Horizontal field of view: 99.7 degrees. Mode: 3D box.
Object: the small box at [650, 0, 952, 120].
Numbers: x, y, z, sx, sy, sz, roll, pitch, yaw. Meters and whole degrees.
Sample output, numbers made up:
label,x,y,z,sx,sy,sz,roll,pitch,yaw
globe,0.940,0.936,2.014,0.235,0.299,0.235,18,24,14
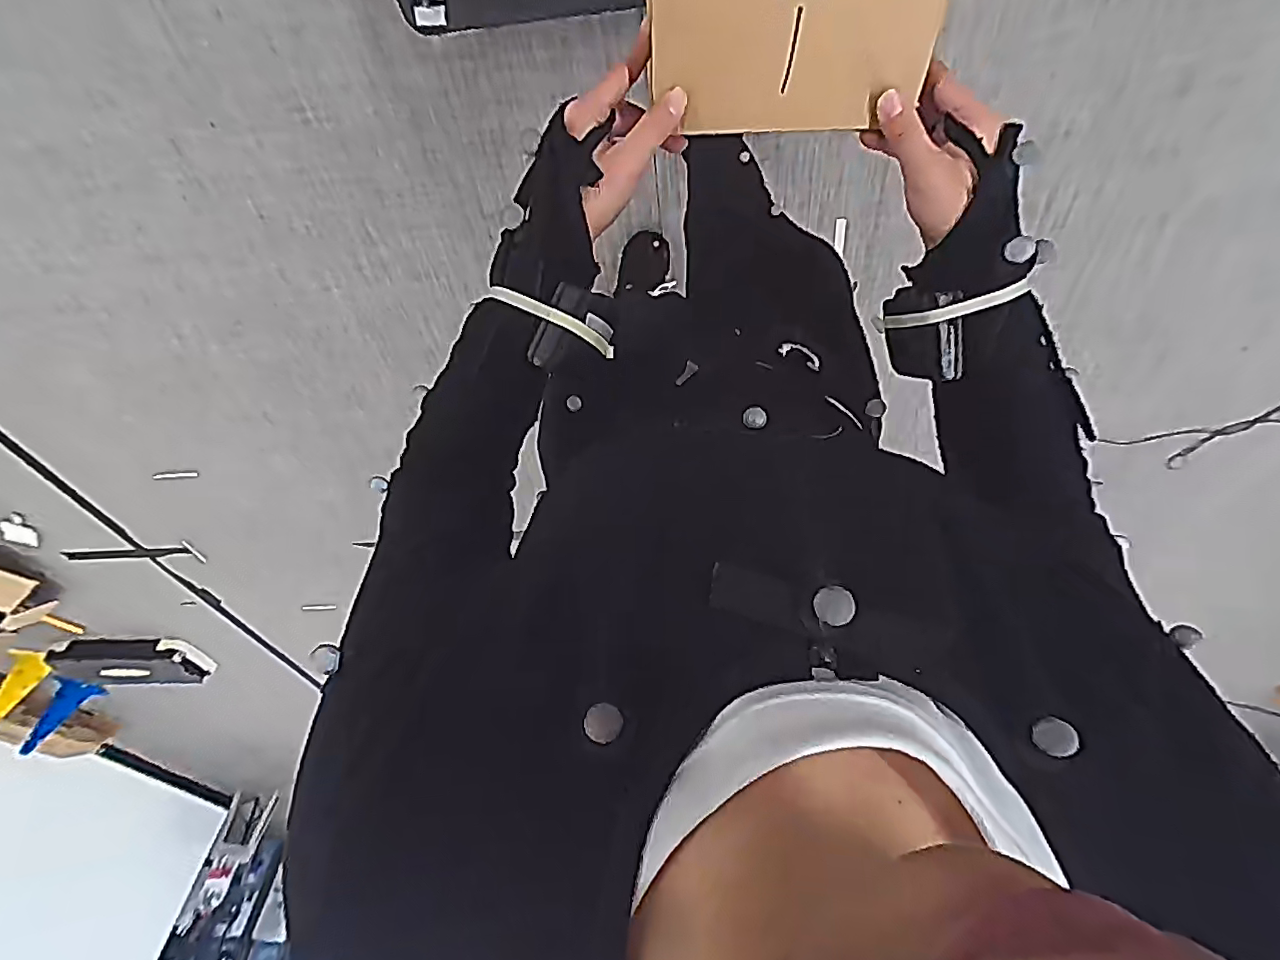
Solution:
label,x,y,z,sx,sy,sz,roll,pitch,yaw
small box,0.090,-0.346,0.331,0.168,0.176,0.179,-1,138,1
